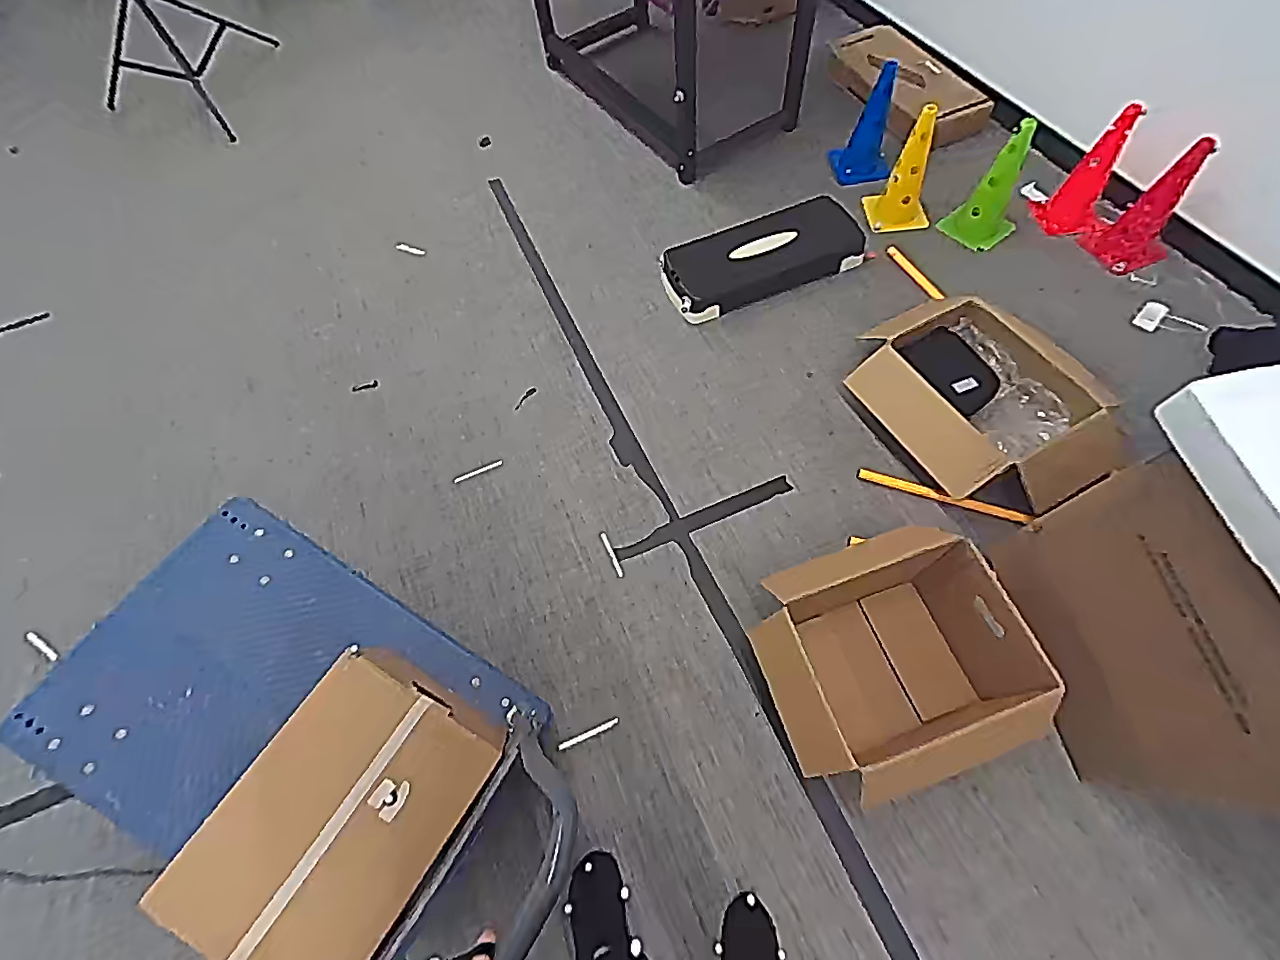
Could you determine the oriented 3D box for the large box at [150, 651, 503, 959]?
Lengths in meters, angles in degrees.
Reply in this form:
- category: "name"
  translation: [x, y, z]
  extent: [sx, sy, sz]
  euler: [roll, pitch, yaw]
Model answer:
- category: "large box"
  translation: [-0.490, 0.568, 0.959]
  extent: [0.320, 0.320, 0.408]
  euler: [35, 68, 0]
